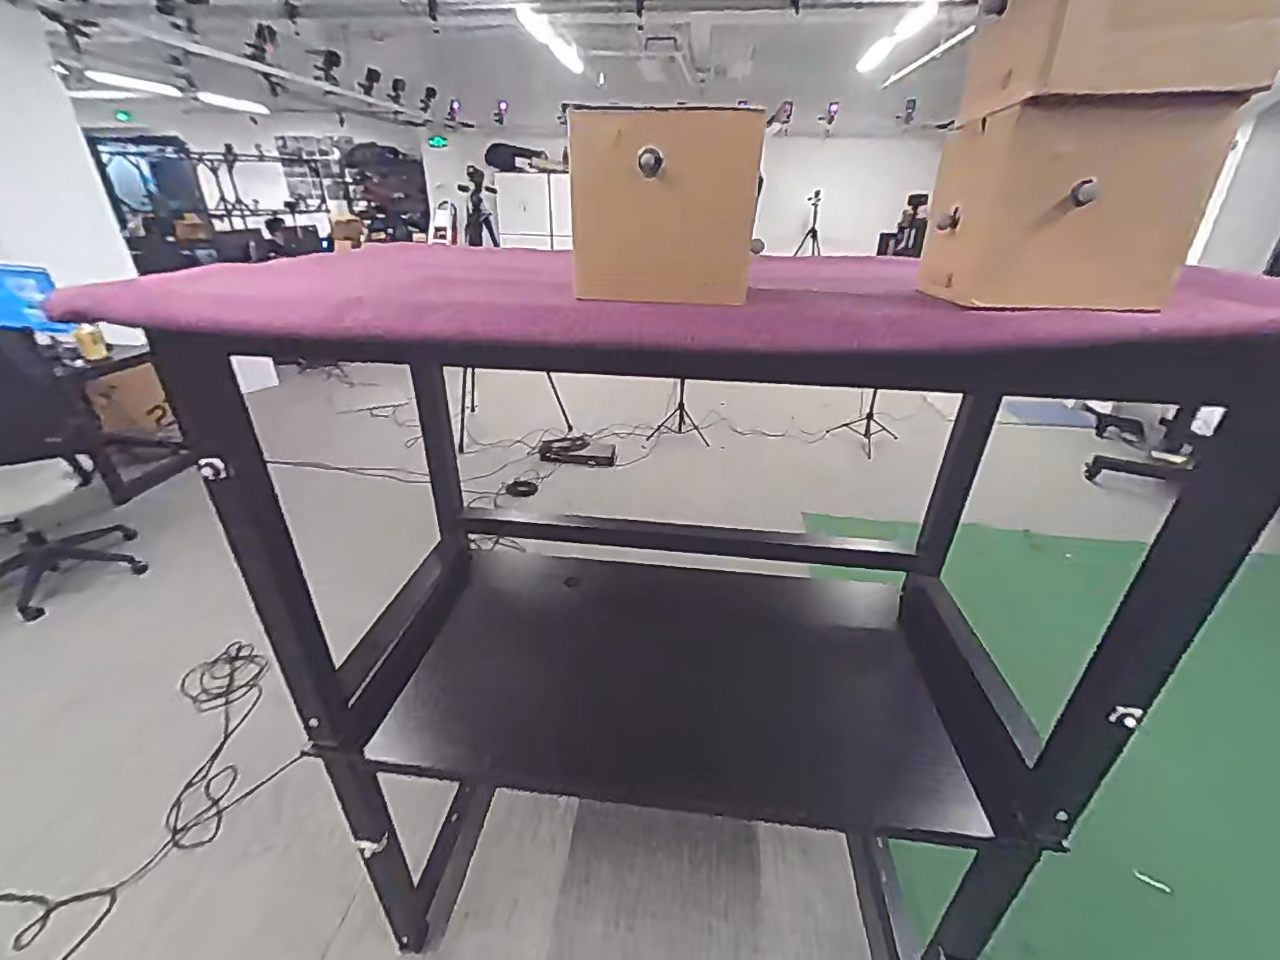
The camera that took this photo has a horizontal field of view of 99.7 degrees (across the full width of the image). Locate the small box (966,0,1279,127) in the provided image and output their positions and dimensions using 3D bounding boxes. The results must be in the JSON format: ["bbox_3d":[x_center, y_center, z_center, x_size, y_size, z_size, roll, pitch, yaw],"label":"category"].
[{"bbox_3d":[0.410,-0.407,0.466,0.179,0.176,0.168,4,25,6],"label":"small box"}]

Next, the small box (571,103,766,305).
[{"bbox_3d":[0.033,-0.286,0.577,0.179,0.176,0.168,5,28,6],"label":"small box"}]

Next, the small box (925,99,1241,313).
[{"bbox_3d":[0.411,-0.265,0.547,0.179,0.176,0.168,3,26,7],"label":"small box"}]
